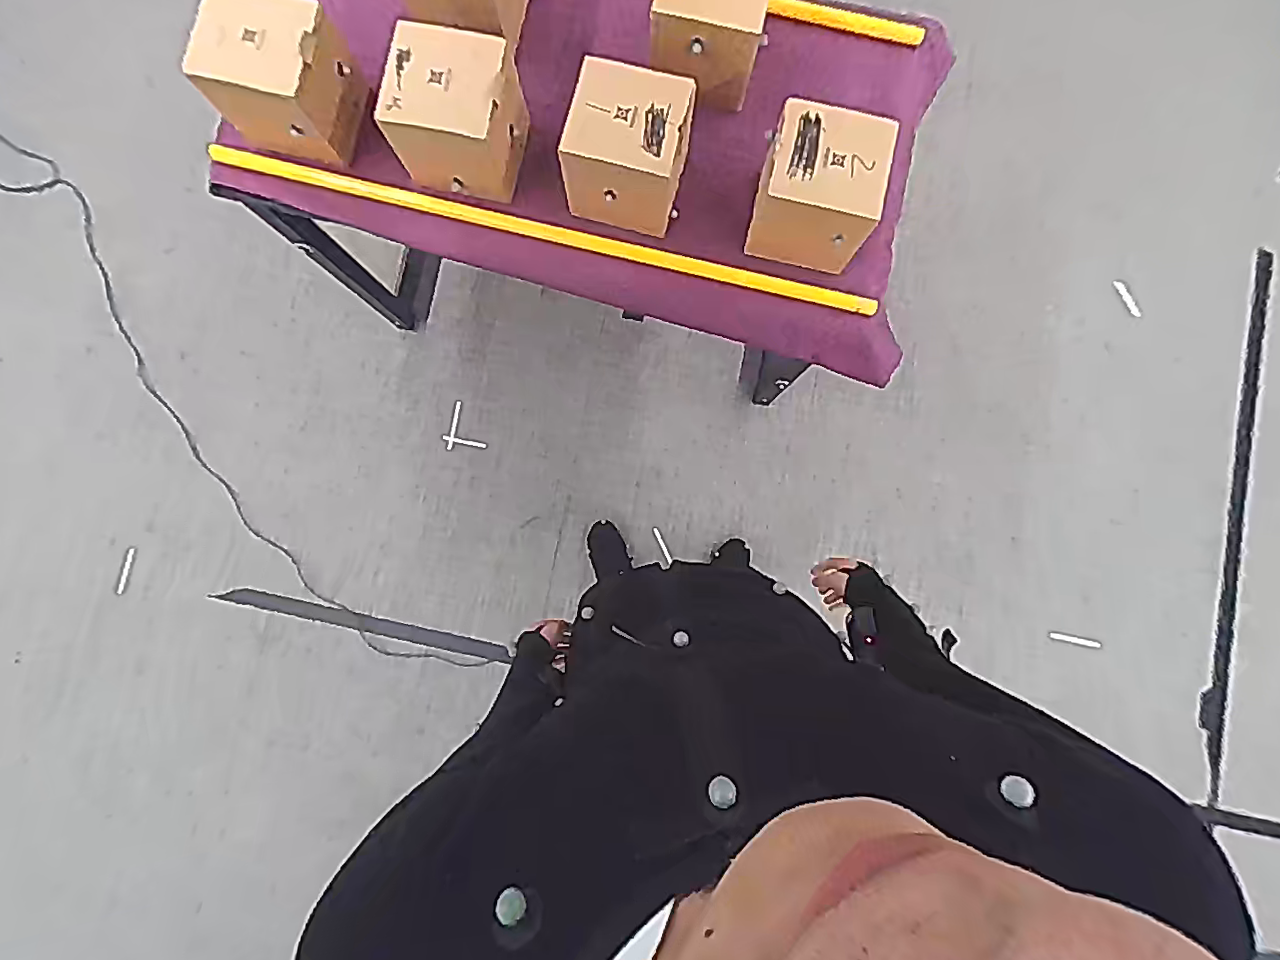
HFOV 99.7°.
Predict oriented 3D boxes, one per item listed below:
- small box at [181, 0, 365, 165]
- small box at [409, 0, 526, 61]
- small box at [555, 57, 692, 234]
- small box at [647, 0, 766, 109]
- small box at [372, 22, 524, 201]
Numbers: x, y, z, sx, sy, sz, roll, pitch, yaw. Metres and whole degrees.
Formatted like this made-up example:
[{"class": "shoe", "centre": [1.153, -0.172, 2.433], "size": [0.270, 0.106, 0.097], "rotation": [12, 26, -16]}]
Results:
[{"class": "small box", "centre": [-0.591, -0.663, 0.898], "size": [0.179, 0.176, 0.168], "rotation": [12, 85, -2]}, {"class": "small box", "centre": [-0.299, -0.867, 0.918], "size": [0.168, 0.176, 0.179], "rotation": [13, 87, 1]}, {"class": "small box", "centre": [-0.024, -0.538, 0.895], "size": [0.179, 0.176, 0.168], "rotation": [15, 84, 2]}, {"class": "small box", "centre": [0.114, -0.773, 0.915], "size": [0.179, 0.176, 0.168], "rotation": [13, 87, 1]}, {"class": "small box", "centre": [-0.304, -0.596, 0.897], "size": [0.179, 0.176, 0.168], "rotation": [12, 85, 0]}]
